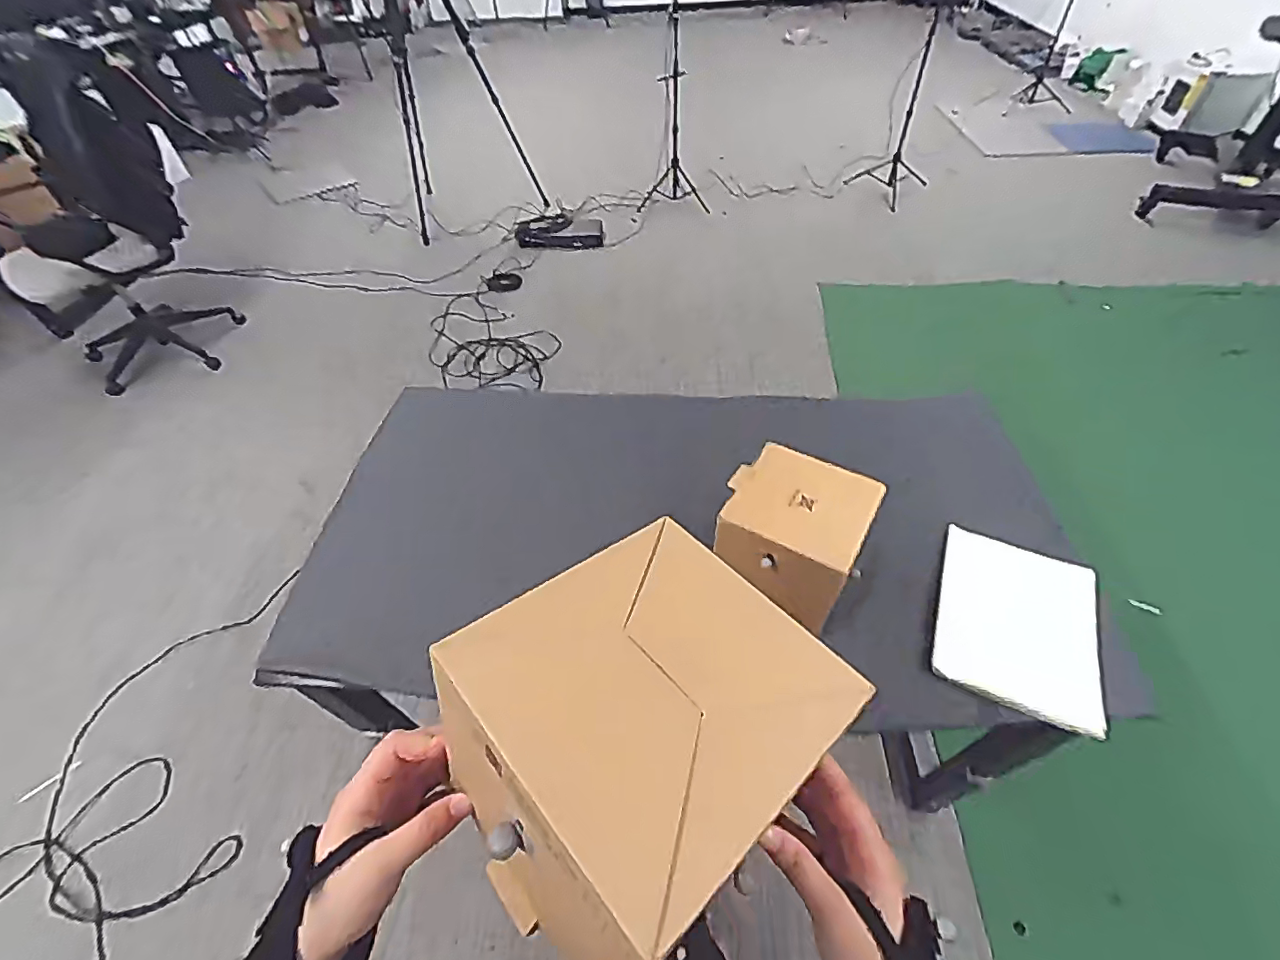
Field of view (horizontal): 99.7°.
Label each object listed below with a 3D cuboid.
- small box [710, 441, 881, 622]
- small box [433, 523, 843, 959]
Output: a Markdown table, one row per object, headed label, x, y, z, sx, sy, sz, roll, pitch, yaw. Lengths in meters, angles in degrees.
| label | x | y | z | sx | sy | sz | roll | pitch | yaw |
| --- | --- | --- | --- | --- | --- | --- | --- | --- | --- |
| small box | 0.215 | 0.079 | 0.781 | 0.179 | 0.176 | 0.168 | 24 | 54 | 23 |
| small box | -0.006 | 0.152 | 0.338 | 0.179 | 0.176 | 0.168 | -26 | 51 | -37 |
